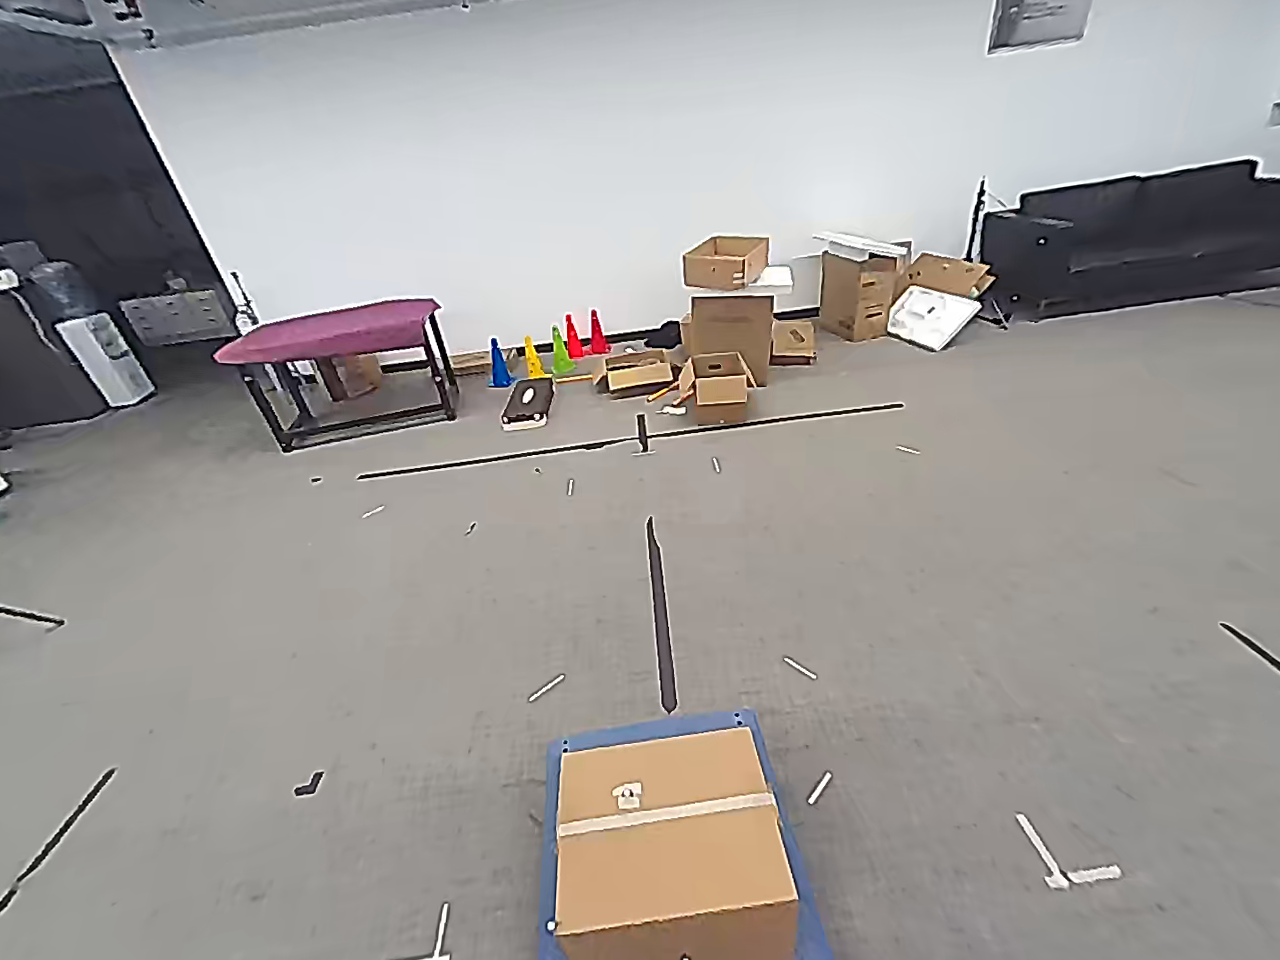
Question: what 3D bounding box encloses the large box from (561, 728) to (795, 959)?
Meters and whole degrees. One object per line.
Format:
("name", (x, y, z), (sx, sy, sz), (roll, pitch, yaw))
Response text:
("large box", (0.070, 0.766, 1.105), (0.408, 0.320, 0.320), (-9, 31, -1))
